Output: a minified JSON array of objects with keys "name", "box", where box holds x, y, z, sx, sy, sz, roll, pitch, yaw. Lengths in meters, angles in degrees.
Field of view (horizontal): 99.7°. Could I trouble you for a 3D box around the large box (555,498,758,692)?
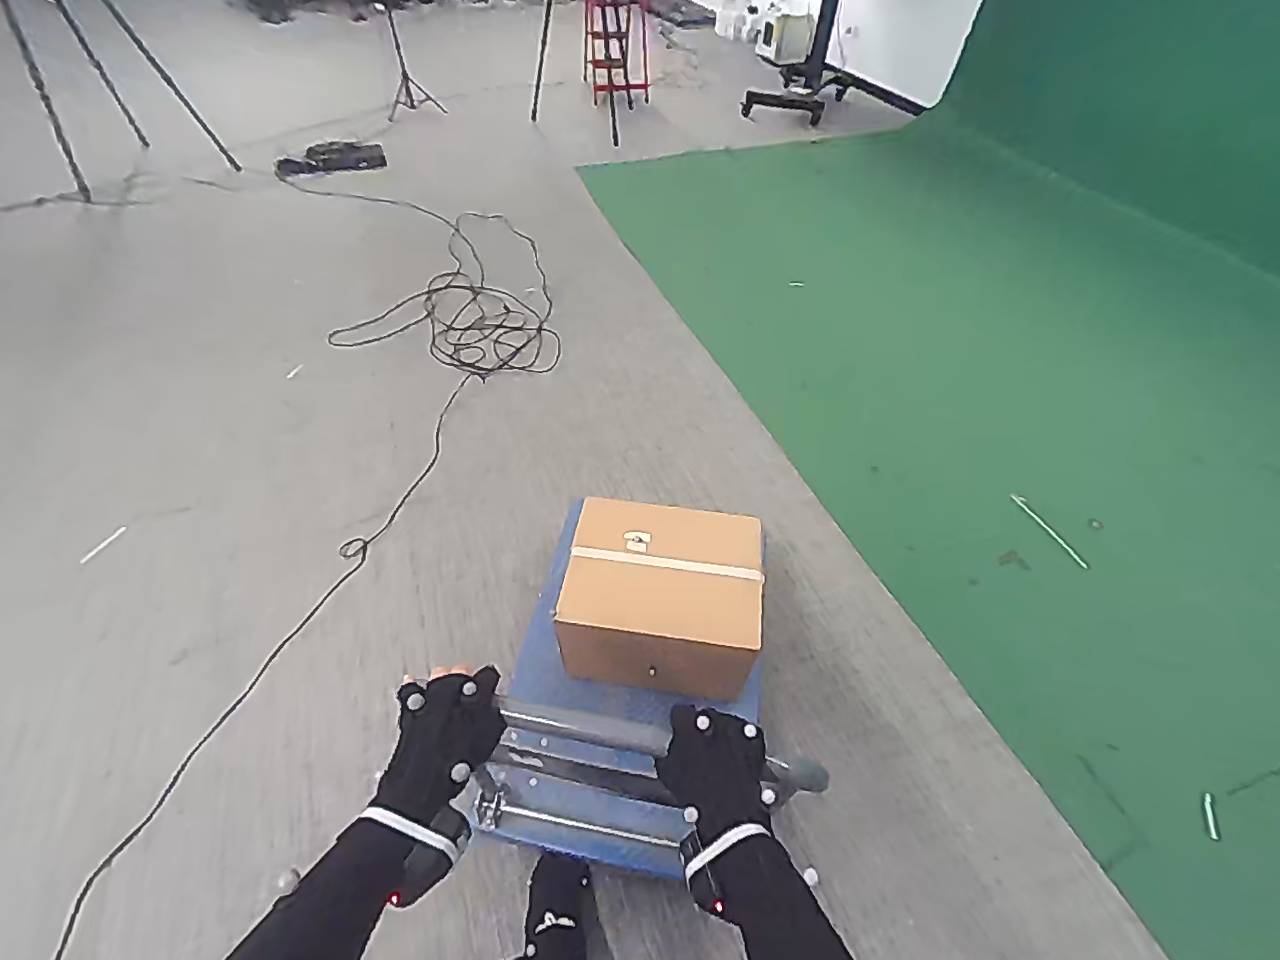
[{"name":"large box","box":[0.047,0.272,1.254,0.408,0.320,0.320,7,50,4]}]
